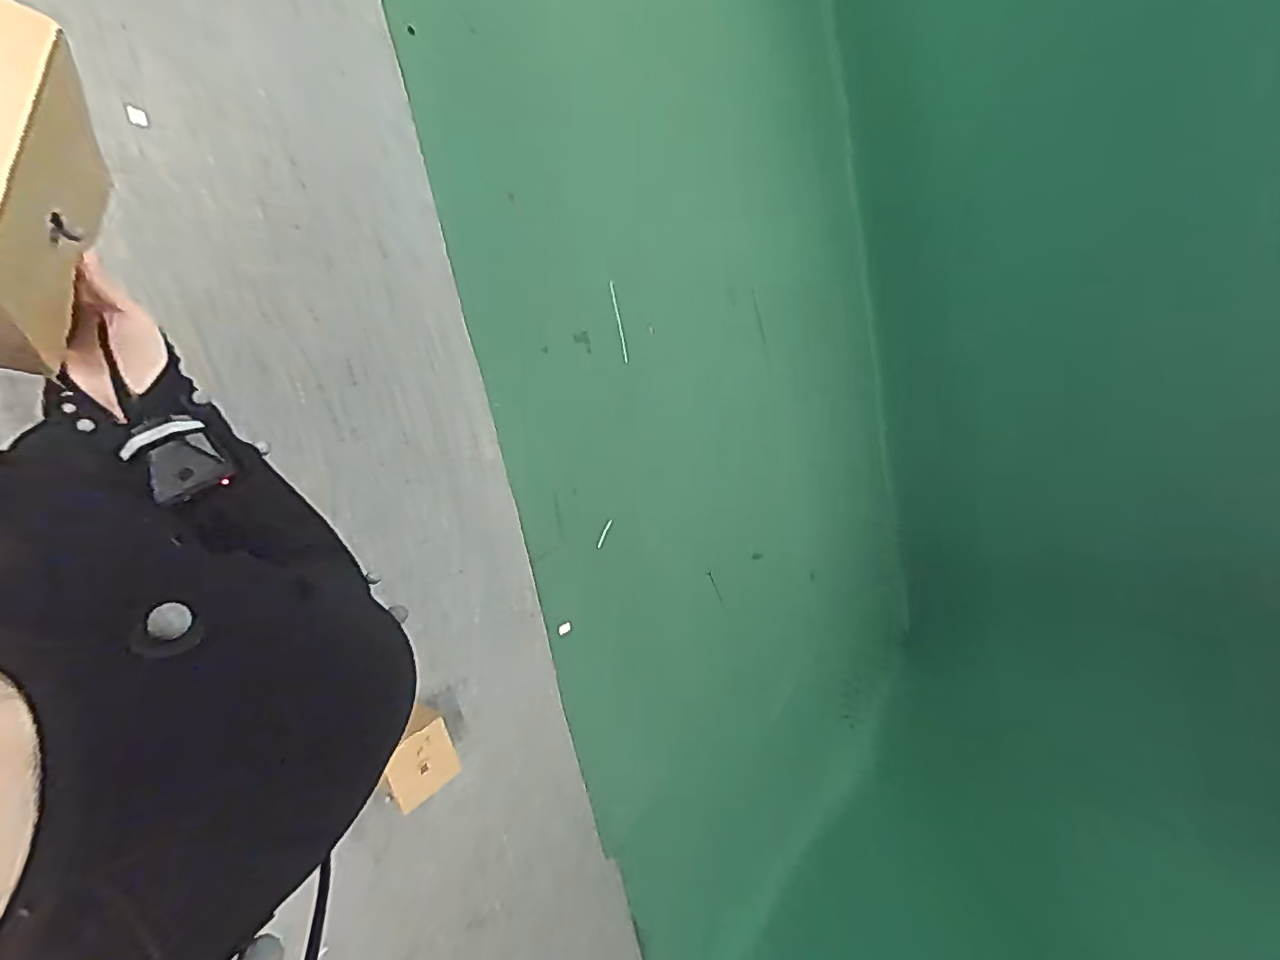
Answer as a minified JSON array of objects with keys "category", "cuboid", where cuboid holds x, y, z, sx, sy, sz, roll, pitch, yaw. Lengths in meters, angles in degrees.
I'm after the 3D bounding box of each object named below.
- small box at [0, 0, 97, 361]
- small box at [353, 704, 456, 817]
[{"category":"small box","cuboid":[-0.458,-0.195,0.316,0.168,0.176,0.179,11,75,-35]},{"category":"small box","cuboid":[-0.615,0.720,1.411,0.168,0.176,0.179,-27,108,-43]}]
